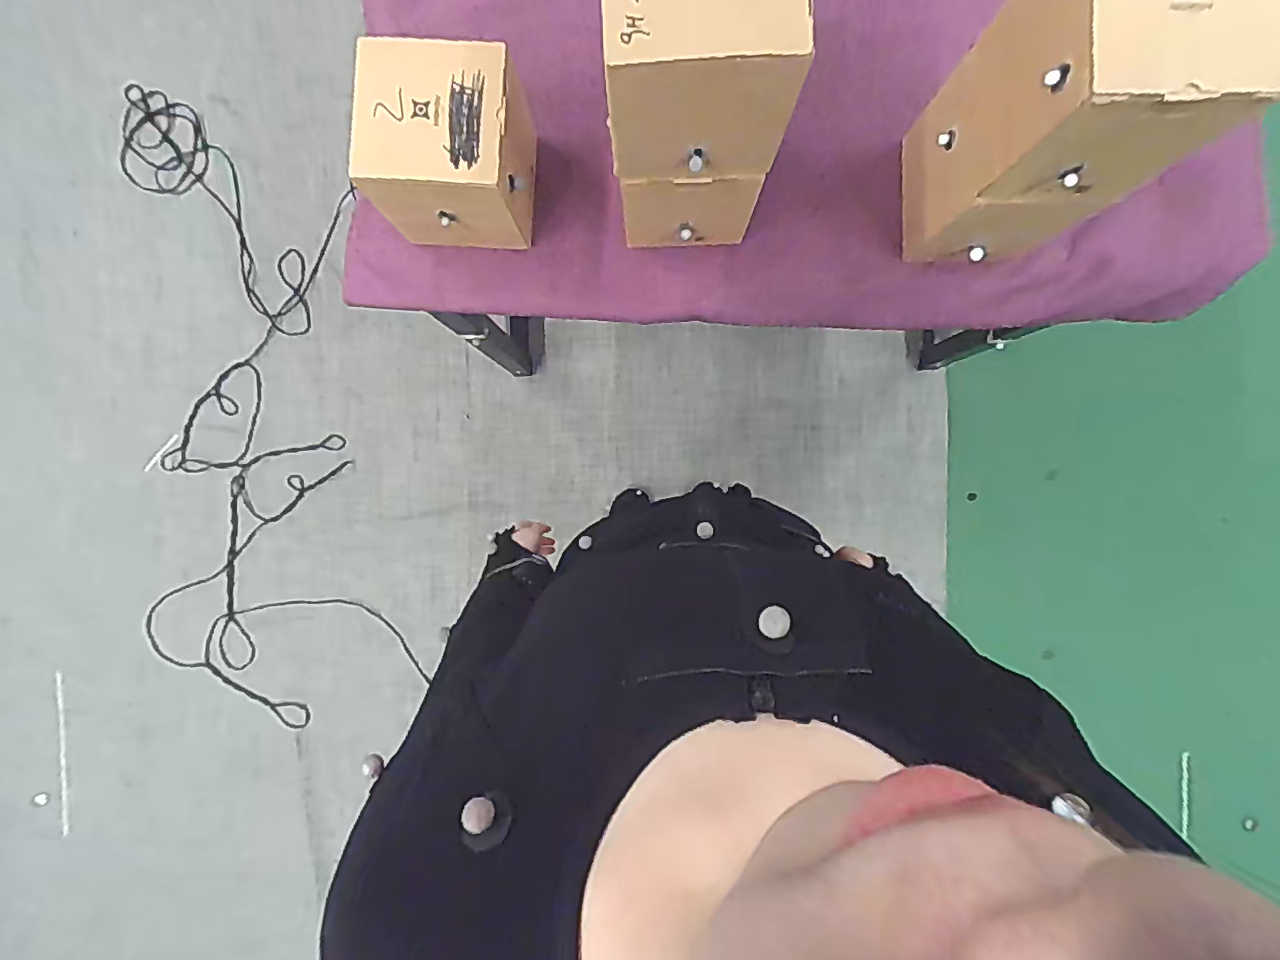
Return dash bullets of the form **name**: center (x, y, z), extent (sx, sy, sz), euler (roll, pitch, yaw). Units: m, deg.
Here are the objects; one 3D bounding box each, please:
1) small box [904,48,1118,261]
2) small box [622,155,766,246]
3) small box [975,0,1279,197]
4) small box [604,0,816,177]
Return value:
- **small box**: center (0.454, -0.399, 0.686), extent (0.168, 0.176, 0.179), euler (-1, 91, 1)
- **small box**: center (0.060, -0.424, 0.691), extent (0.168, 0.176, 0.179), euler (-2, 89, 1)
- **small box**: center (0.452, -0.403, 0.523), extent (0.168, 0.176, 0.179), euler (-1, 90, 1)
- **small box**: center (0.056, -0.423, 0.527), extent (0.179, 0.176, 0.168), euler (-3, 88, 0)
